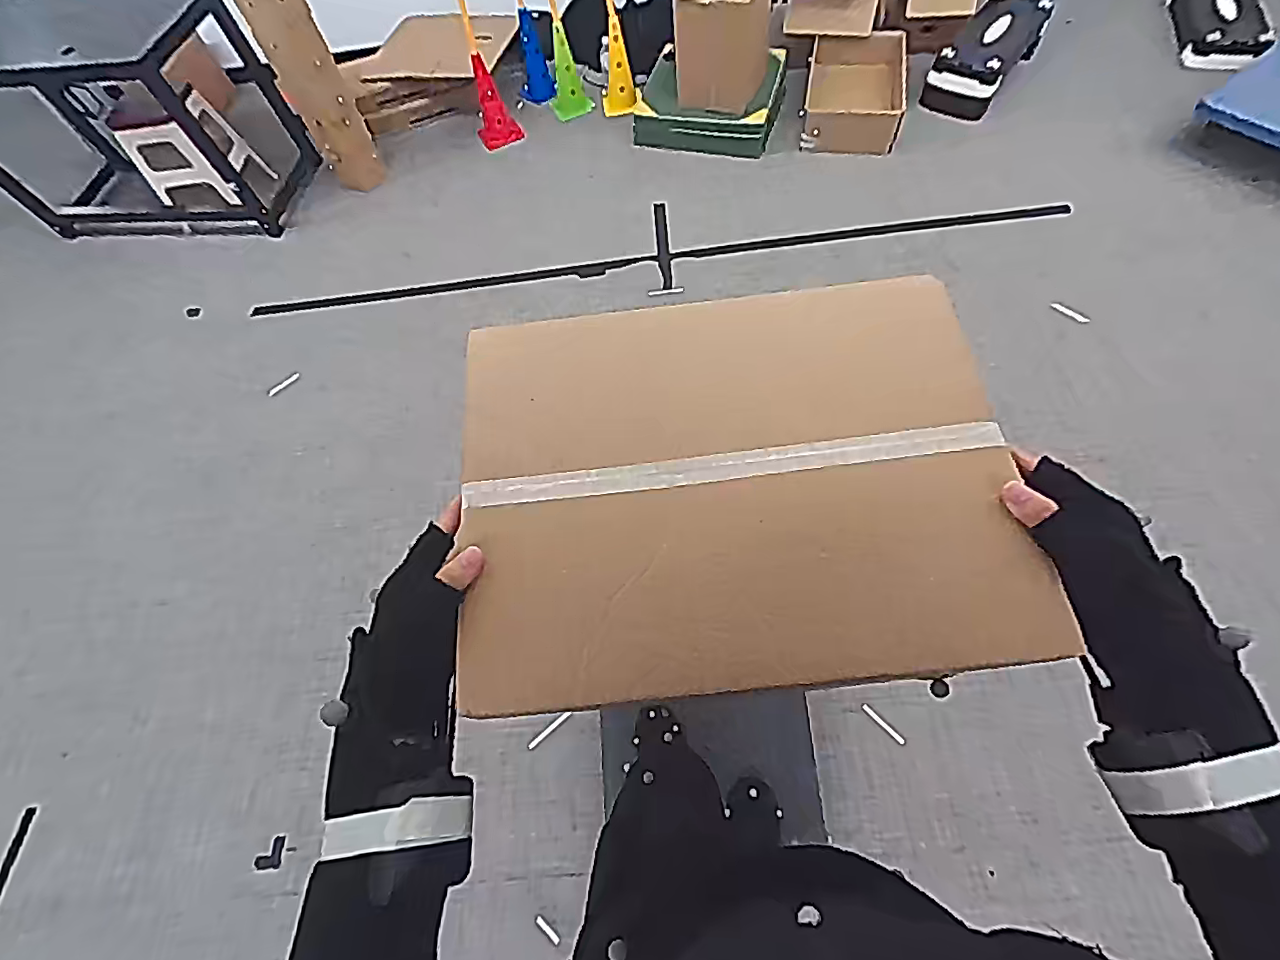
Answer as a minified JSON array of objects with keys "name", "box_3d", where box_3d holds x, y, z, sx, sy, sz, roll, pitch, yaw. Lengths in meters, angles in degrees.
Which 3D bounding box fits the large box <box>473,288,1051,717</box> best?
[{"name":"large box","box_3d":[0.078,0.051,0.559,0.408,0.320,0.320,-7,67,2]}]
